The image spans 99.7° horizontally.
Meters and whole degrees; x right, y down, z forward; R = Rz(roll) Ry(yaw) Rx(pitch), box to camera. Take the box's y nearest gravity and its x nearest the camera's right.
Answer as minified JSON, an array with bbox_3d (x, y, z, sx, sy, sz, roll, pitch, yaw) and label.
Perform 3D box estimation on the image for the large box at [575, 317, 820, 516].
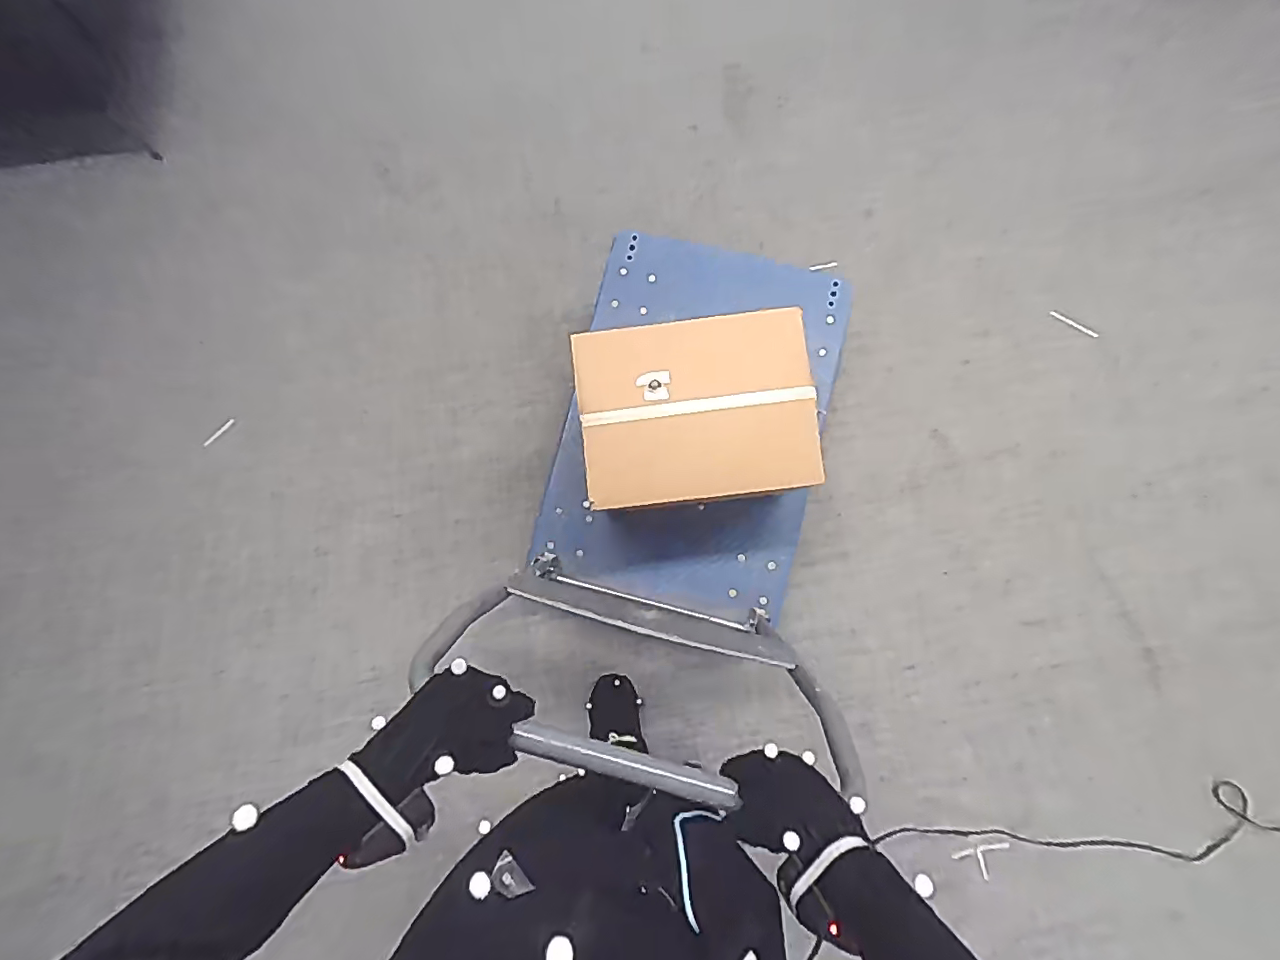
[{"bbox_3d":[0.105,-0.106,1.093,0.408,0.320,0.320,-6,86,2],"label":"large box"}]
